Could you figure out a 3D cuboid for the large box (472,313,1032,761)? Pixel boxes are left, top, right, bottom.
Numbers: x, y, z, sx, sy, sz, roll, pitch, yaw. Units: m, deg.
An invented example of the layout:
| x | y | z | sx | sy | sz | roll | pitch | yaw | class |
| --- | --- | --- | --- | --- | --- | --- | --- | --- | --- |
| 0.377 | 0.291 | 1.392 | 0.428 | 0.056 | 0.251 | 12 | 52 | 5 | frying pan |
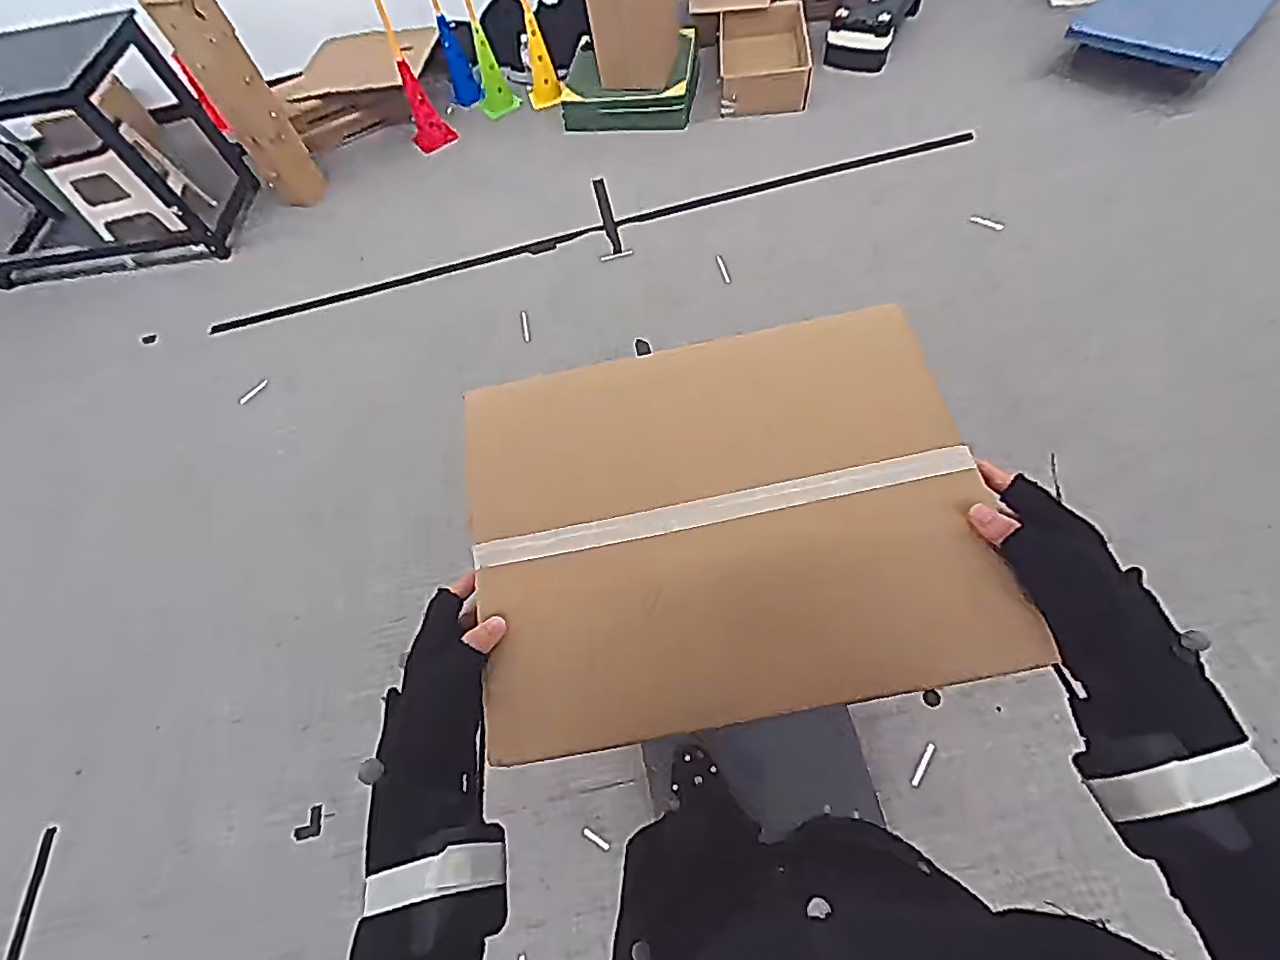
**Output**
| x | y | z | sx | sy | sz | roll | pitch | yaw | class |
| --- | --- | --- | --- | --- | --- | --- | --- | --- | --- |
| 0.079 | 0.076 | 0.582 | 0.408 | 0.320 | 0.320 | -11 | 68 | 2 | large box |
